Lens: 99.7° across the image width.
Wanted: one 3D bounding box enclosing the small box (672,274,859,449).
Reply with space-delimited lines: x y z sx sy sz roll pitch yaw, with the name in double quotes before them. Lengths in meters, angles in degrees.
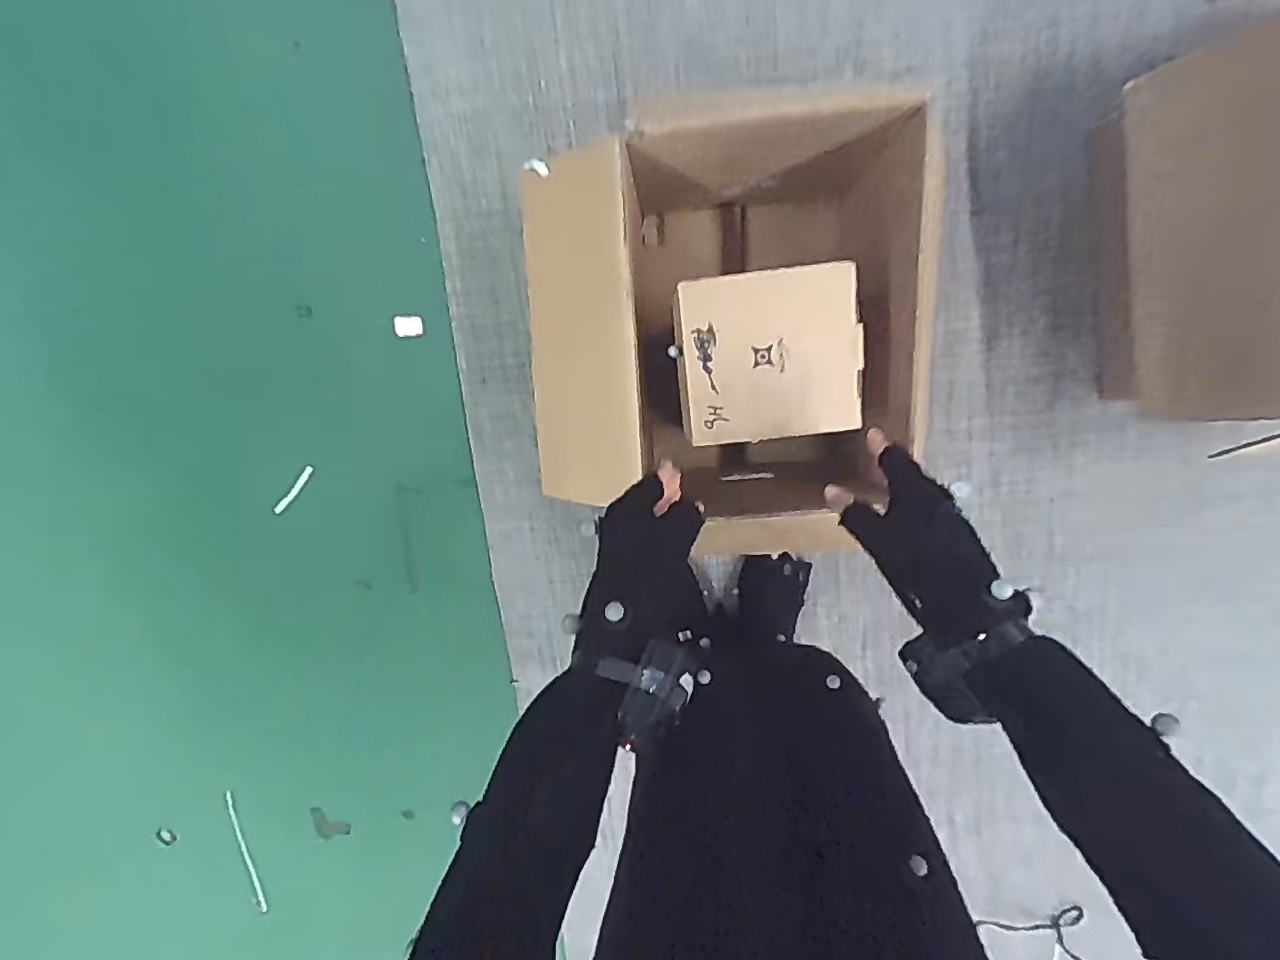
"small box" 0.133 -0.132 0.626 0.179 0.176 0.168 -5 99 1
